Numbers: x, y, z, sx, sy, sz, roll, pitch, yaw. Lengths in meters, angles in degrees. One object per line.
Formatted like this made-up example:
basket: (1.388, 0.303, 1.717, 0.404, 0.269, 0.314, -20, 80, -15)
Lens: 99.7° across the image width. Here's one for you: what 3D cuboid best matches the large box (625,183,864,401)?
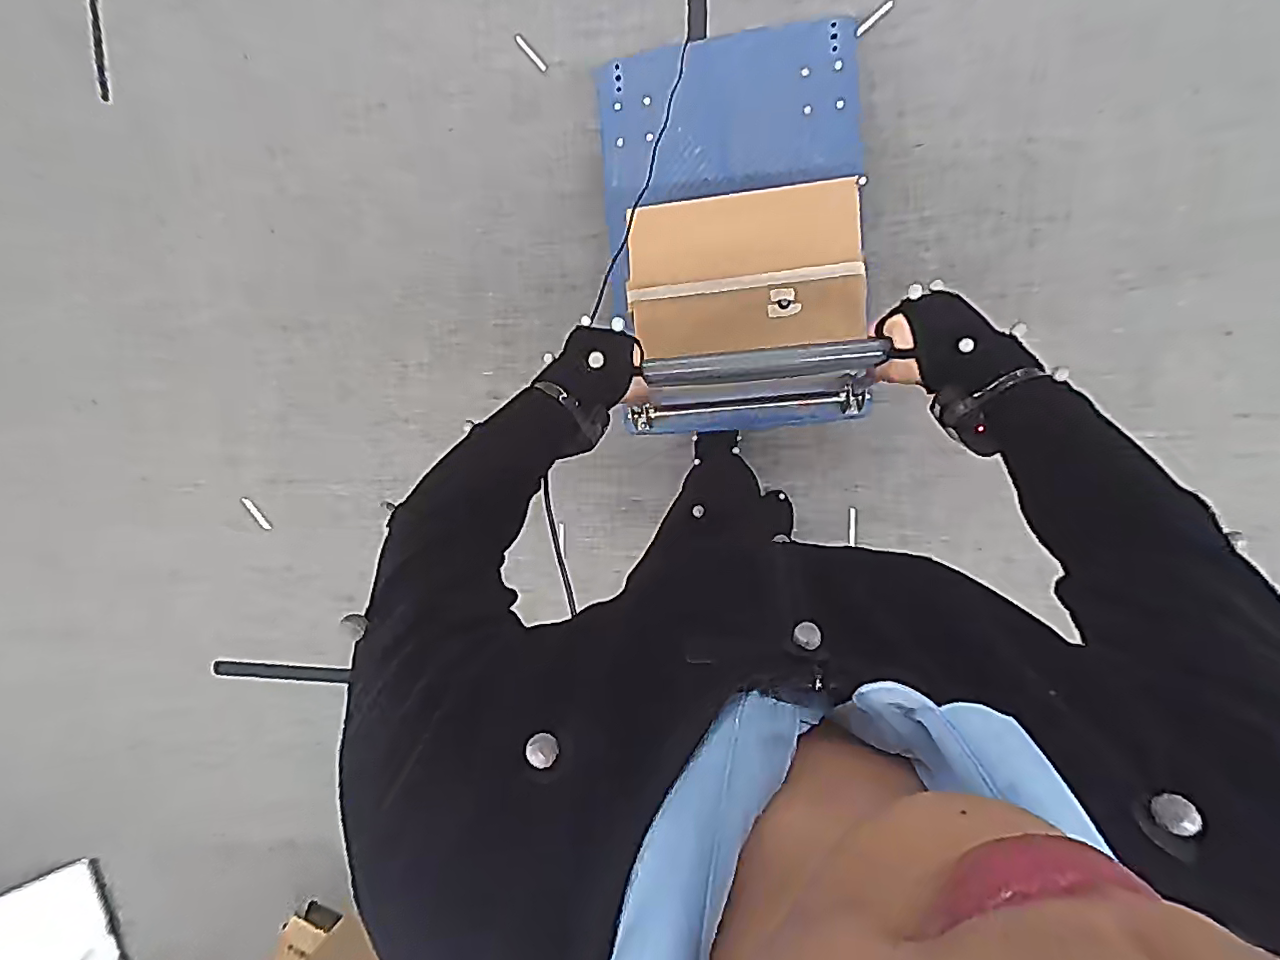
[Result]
large box: (0.201, -0.346, 1.102, 0.408, 0.320, 0.320, -4, 93, 9)
